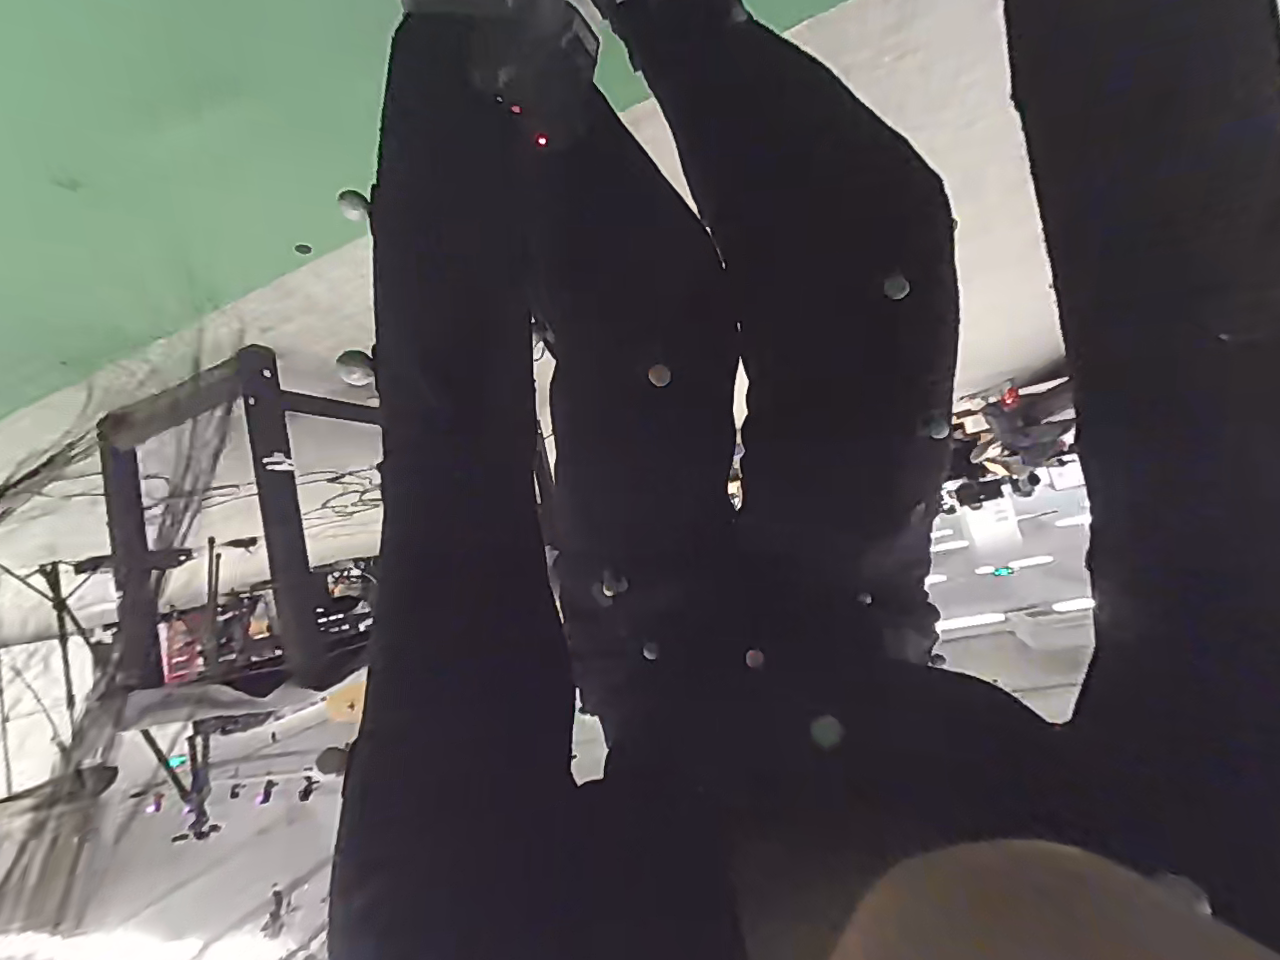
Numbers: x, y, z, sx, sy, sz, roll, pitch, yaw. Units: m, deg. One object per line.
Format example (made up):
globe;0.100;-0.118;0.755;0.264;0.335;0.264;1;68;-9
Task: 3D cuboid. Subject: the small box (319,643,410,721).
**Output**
small box;-0.815;0.589;1.595;0.179;0.176;0.168;-16;173;18
